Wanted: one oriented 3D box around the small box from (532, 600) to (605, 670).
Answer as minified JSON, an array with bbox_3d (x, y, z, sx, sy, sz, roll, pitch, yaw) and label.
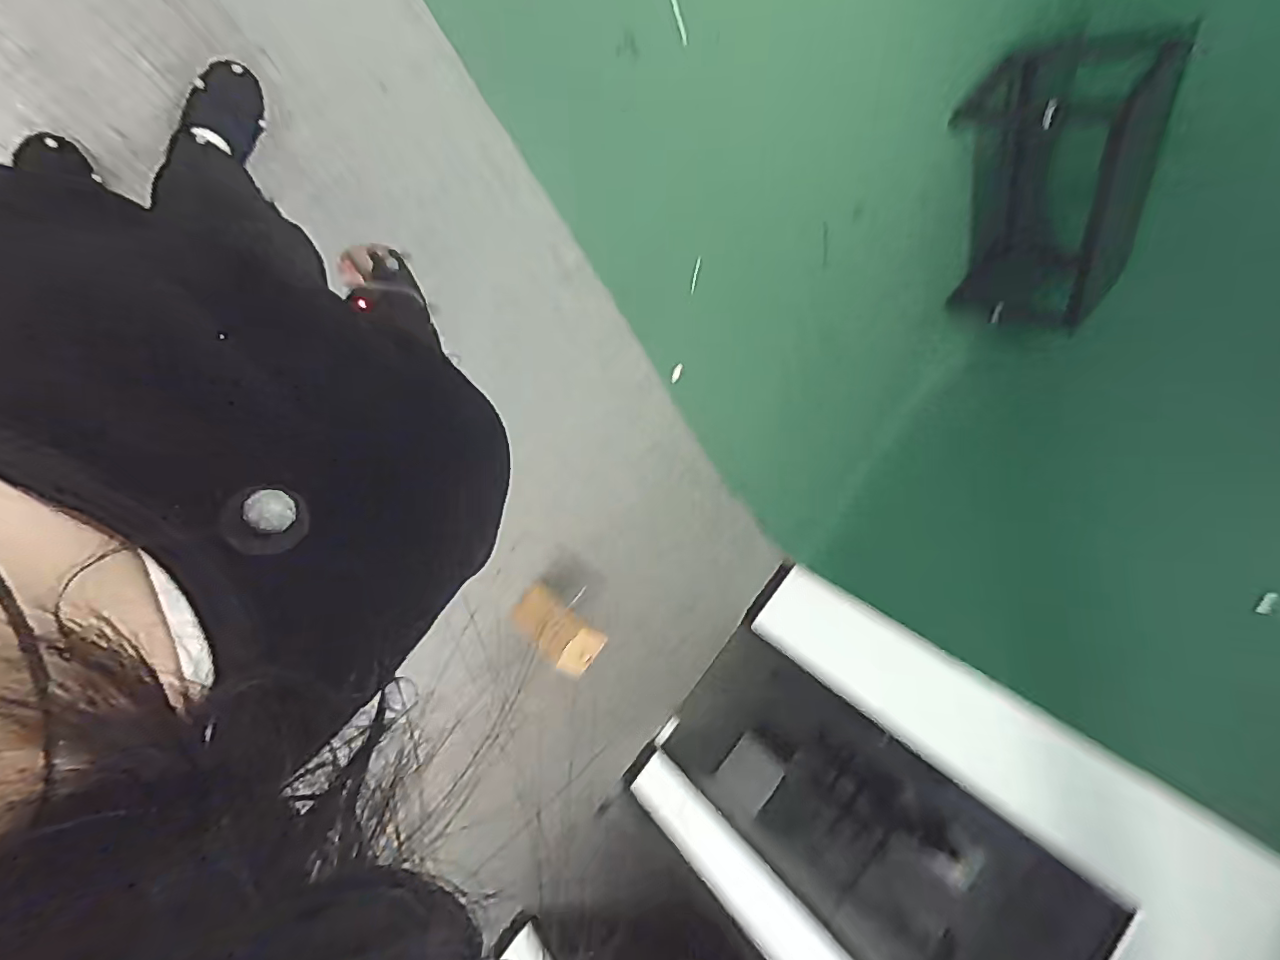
[{"bbox_3d":[-0.271,0.574,2.018,0.168,0.176,0.179,-51,139,-6],"label":"small box"}]
